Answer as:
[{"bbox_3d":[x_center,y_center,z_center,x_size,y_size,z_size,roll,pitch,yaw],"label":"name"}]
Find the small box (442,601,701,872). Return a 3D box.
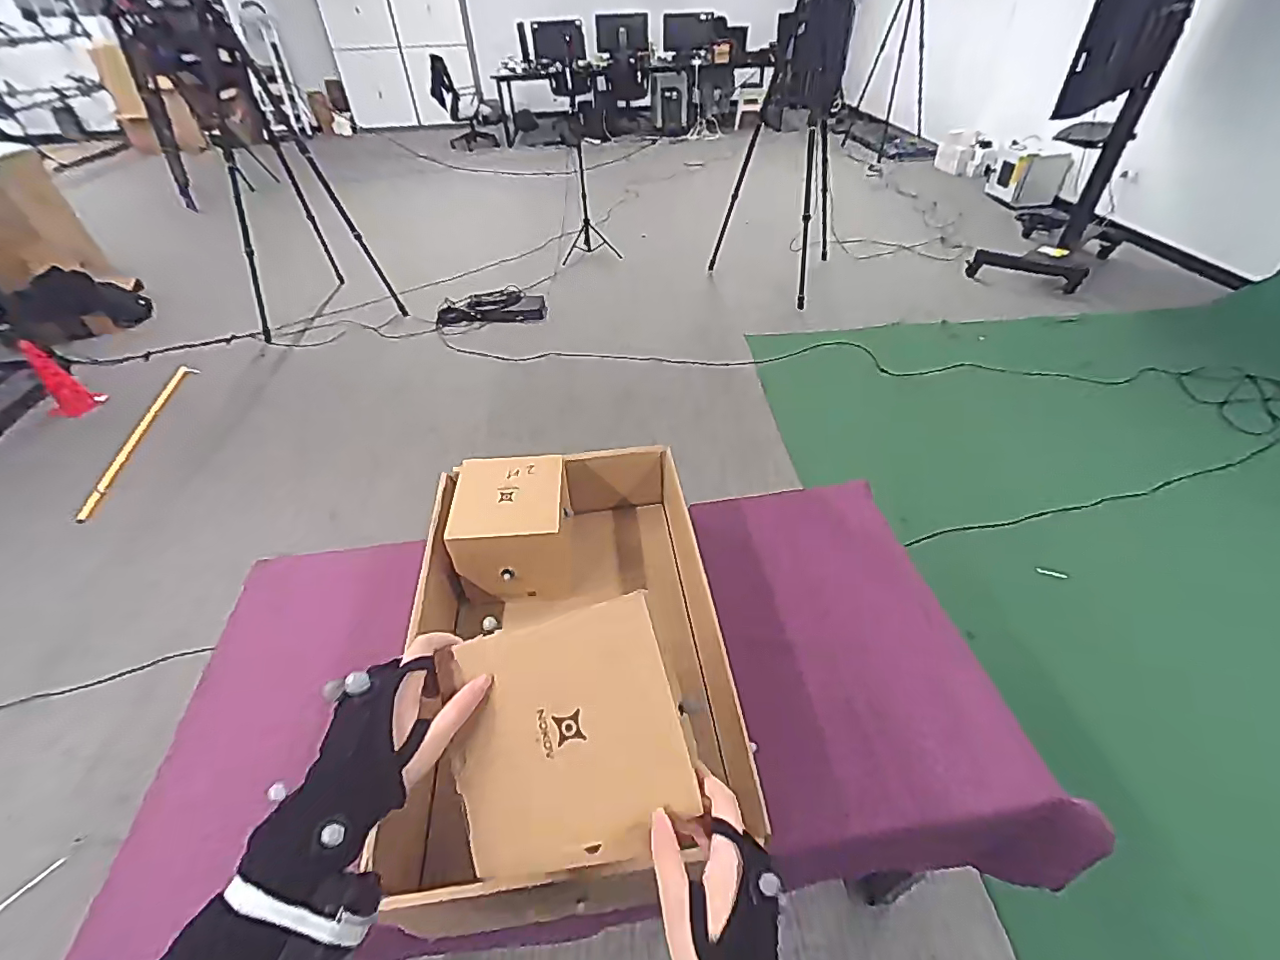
[{"bbox_3d":[-0.051,0.212,0.499,0.179,0.176,0.168,-17,76,2],"label":"small box"}]
